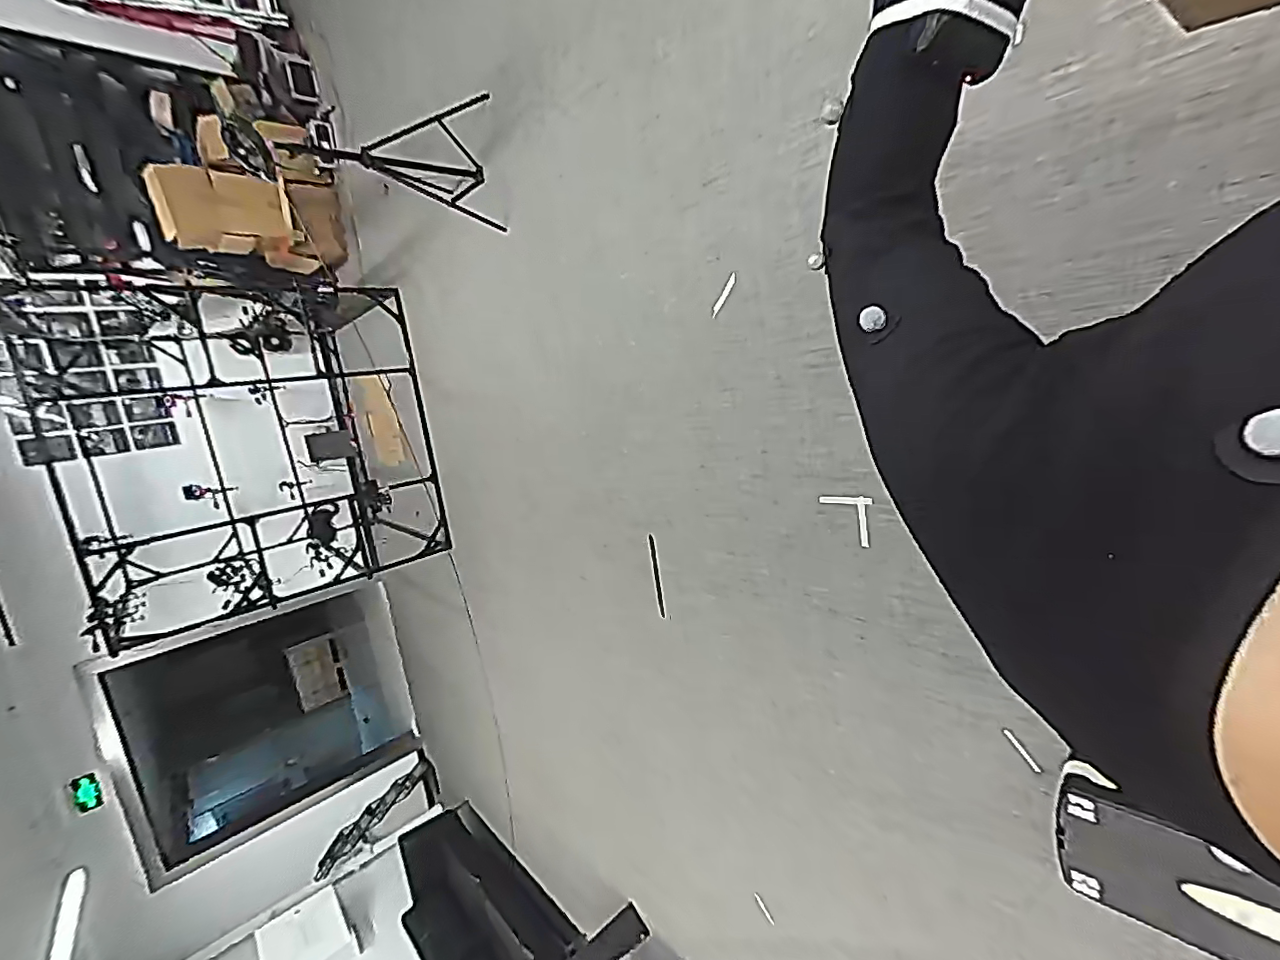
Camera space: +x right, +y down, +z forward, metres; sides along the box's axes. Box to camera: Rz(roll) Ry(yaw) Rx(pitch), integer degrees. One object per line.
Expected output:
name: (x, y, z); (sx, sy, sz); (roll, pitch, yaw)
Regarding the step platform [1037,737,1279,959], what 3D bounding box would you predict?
step platform: (1.218, 0.795, 1.080); (0.684, 0.204, 0.286); (2, 104, 50)
